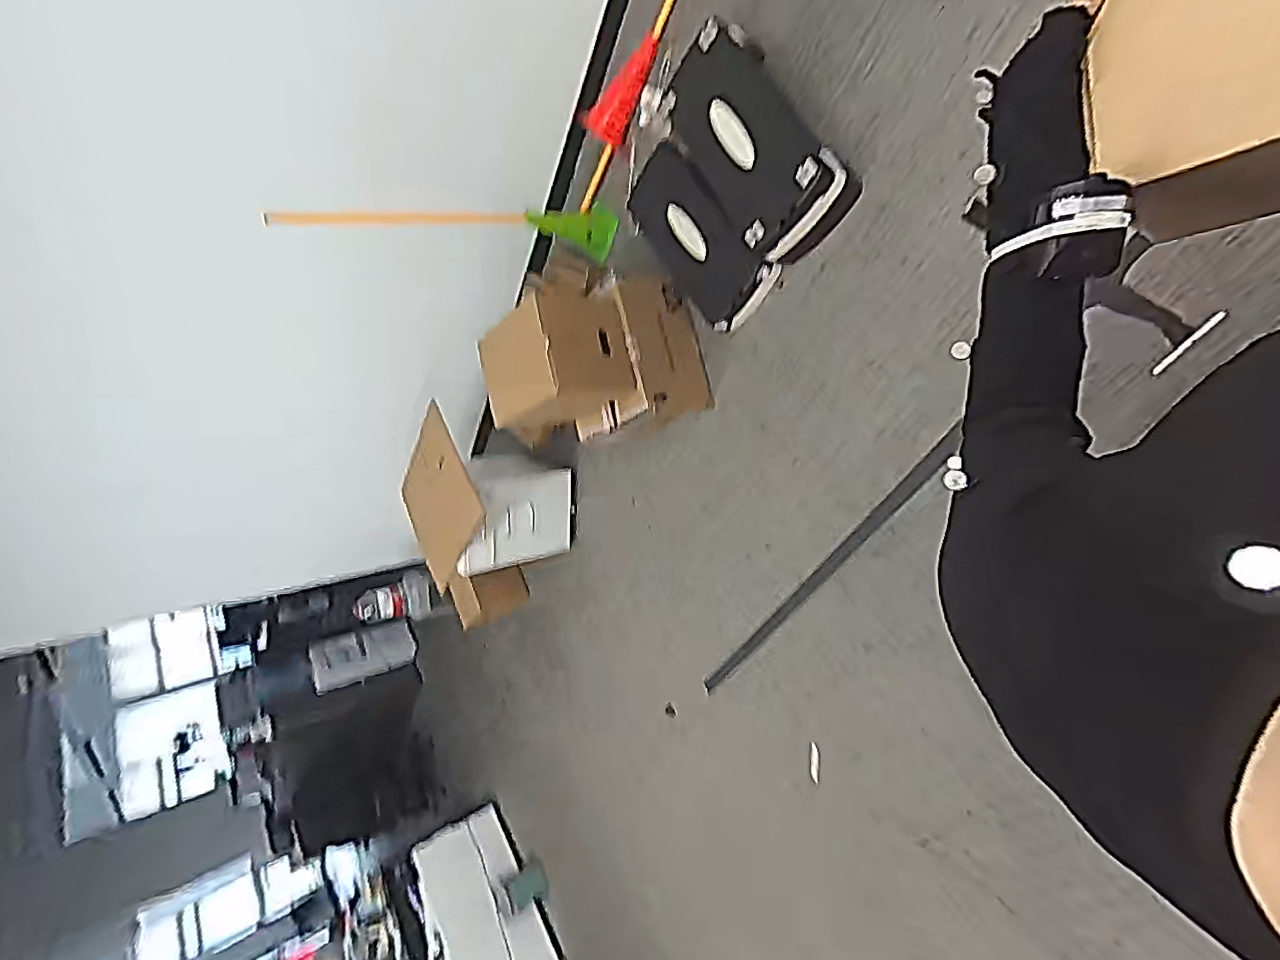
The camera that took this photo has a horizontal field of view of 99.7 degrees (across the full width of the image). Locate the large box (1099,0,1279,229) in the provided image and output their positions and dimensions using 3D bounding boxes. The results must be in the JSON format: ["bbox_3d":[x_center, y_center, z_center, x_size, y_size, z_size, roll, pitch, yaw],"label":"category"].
[{"bbox_3d":[0.568,-0.403,0.336,0.408,0.320,0.320,-1,99,50],"label":"large box"}]
